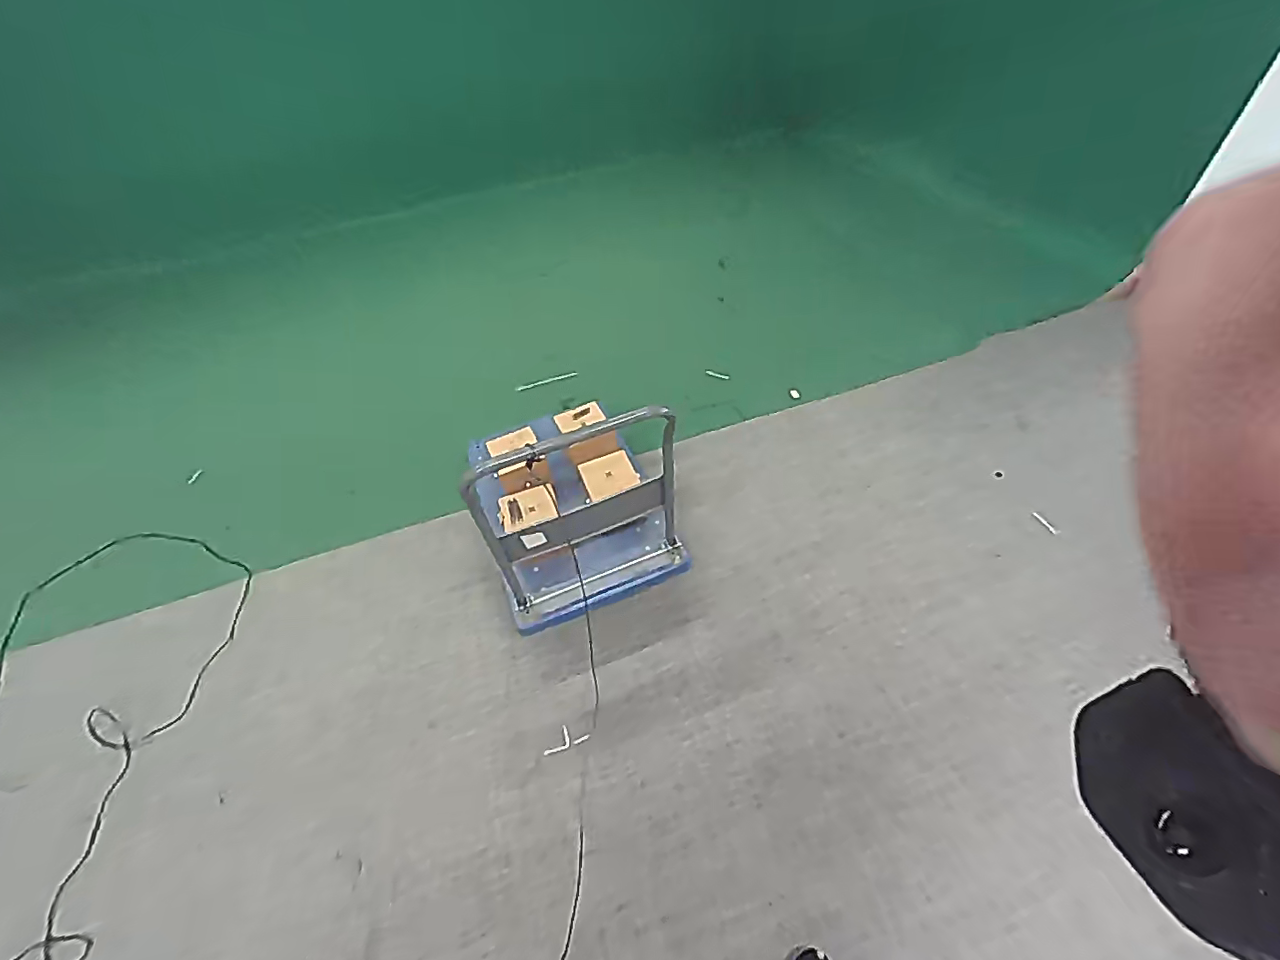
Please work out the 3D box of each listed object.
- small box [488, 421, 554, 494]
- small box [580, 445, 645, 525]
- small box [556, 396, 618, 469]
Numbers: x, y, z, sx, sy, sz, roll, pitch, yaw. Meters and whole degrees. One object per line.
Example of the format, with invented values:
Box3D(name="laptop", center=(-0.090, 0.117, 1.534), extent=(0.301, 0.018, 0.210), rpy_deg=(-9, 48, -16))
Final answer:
Box3D(name="small box", center=(-0.415, -0.071, 1.905), extent=(0.168, 0.176, 0.179), rpy_deg=(-22, 51, -13))
Box3D(name="small box", center=(-0.090, 0.020, 1.794), extent=(0.168, 0.176, 0.179), rpy_deg=(-19, 51, -10))
Box3D(name="small box", center=(-0.189, -0.167, 1.961), extent=(0.168, 0.176, 0.179), rpy_deg=(-23, 52, -12))
